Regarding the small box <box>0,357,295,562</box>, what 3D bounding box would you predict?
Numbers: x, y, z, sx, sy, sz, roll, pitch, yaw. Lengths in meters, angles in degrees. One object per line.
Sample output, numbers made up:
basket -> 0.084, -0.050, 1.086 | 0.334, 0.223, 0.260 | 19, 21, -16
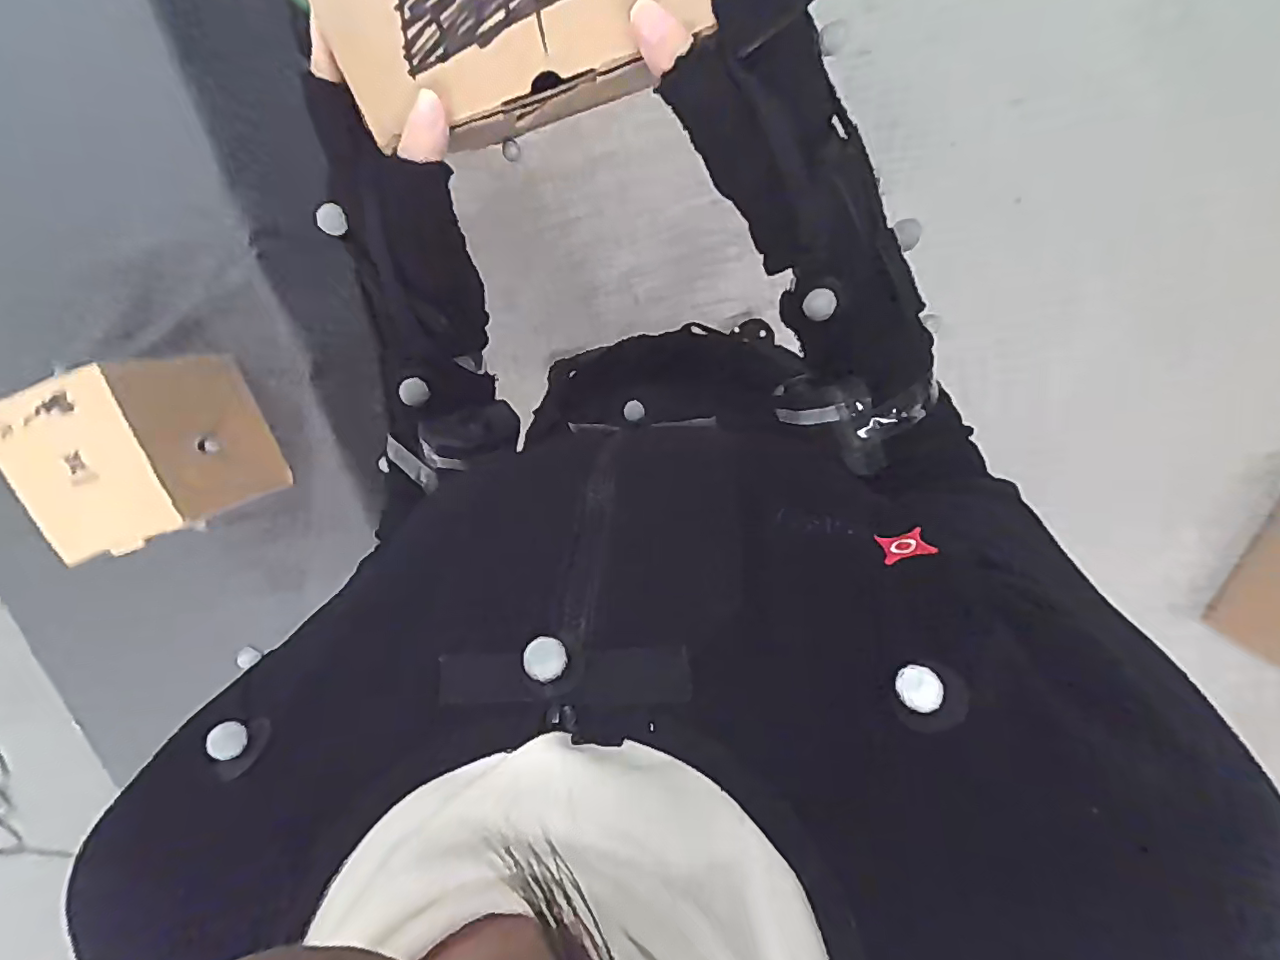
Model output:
small box -> -0.562, -0.033, 0.640 | 0.168, 0.176, 0.179 | -19, 103, 12

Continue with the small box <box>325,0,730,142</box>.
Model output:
small box -> -0.059, -0.287, 0.262 | 0.168, 0.176, 0.179 | -14, 119, 9
